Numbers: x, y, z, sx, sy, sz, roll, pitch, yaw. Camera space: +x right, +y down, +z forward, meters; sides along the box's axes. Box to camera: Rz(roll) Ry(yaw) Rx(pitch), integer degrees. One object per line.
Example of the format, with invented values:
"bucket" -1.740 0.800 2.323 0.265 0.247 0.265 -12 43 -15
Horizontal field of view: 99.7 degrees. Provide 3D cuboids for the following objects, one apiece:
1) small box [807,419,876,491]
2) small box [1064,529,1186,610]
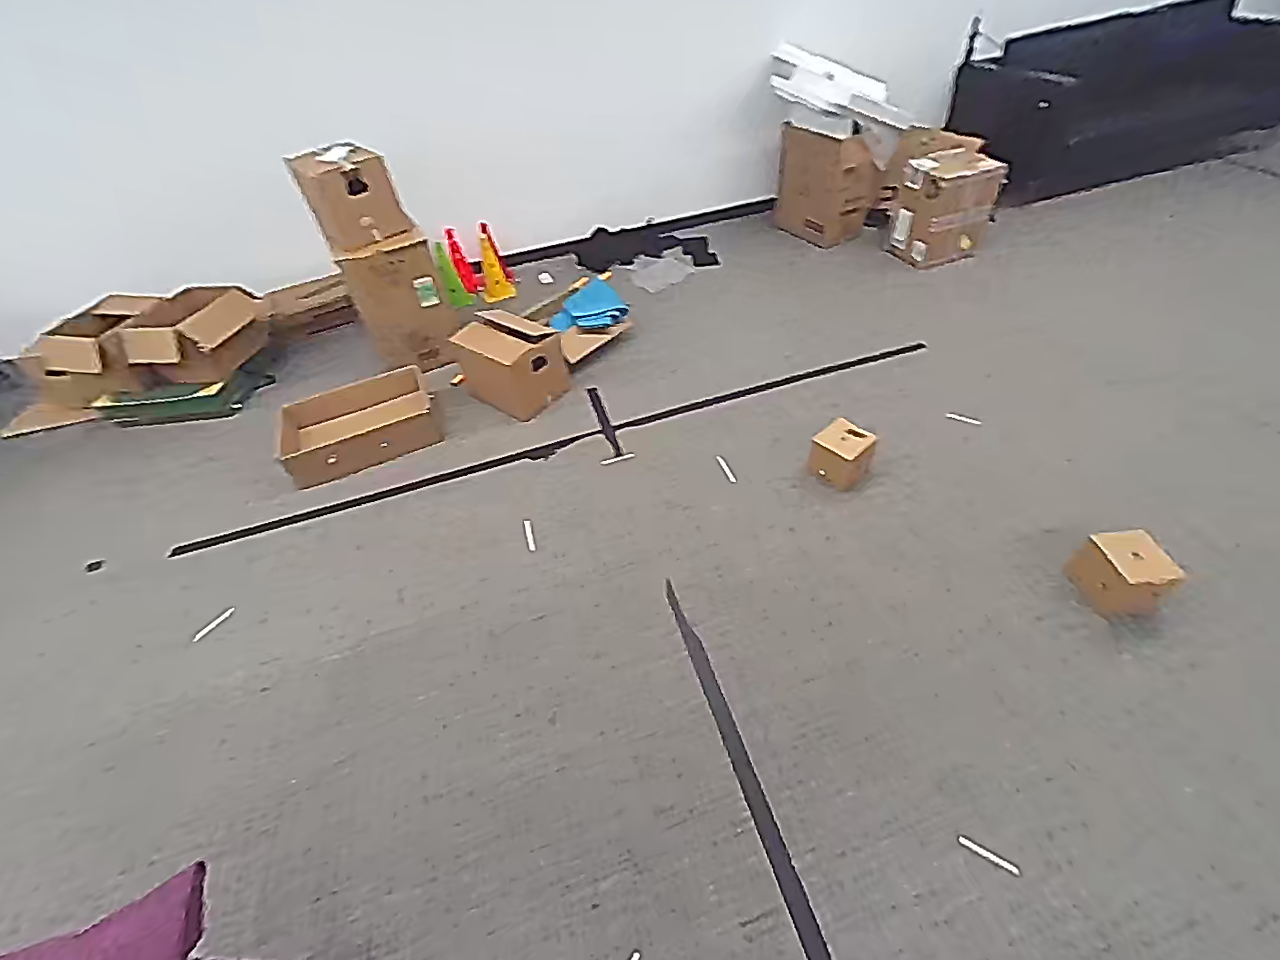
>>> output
"small box" 0.748 -0.094 2.025 0.179 0.176 0.168 -34 51 -23
"small box" 1.412 0.269 1.590 0.168 0.176 0.179 -6 44 -1
